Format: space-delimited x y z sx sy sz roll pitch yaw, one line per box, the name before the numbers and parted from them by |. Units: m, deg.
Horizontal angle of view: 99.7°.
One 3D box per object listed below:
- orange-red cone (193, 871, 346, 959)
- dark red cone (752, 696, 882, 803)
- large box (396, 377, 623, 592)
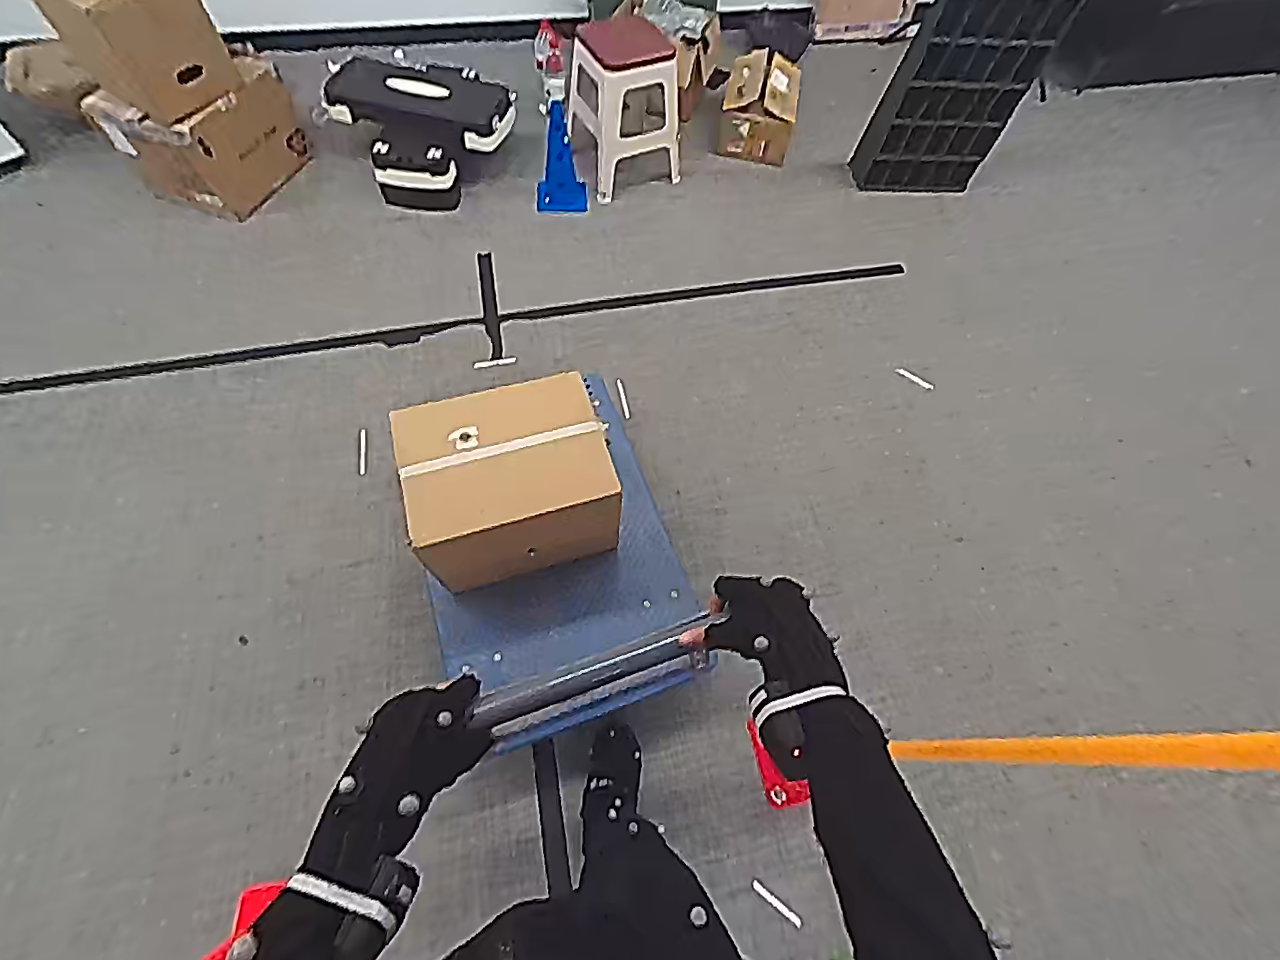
orange-red cone | -0.691 0.825 0.931 0.198 0.360 0.199 -2 61 -6
dark red cone | 0.392 0.551 1.125 0.201 0.394 0.202 -9 63 -10
large box | -0.276 0.018 1.224 0.408 0.320 0.320 -15 65 -11
